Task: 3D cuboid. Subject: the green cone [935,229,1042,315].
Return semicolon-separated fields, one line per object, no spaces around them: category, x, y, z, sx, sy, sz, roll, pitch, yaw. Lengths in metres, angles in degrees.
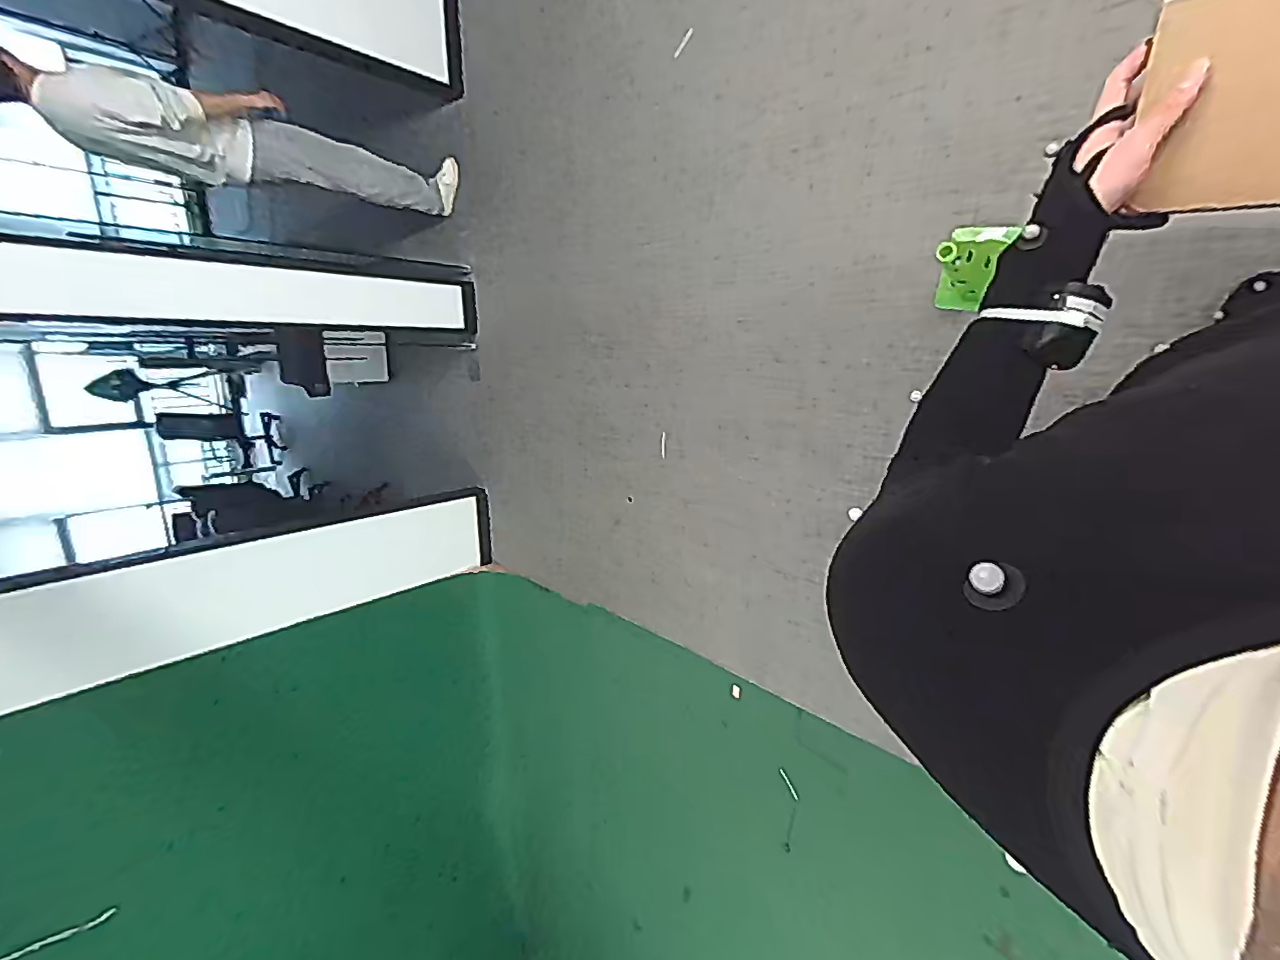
green cone;0.758;-0.495;1.252;0.200;0.368;0.202;20;115;40
